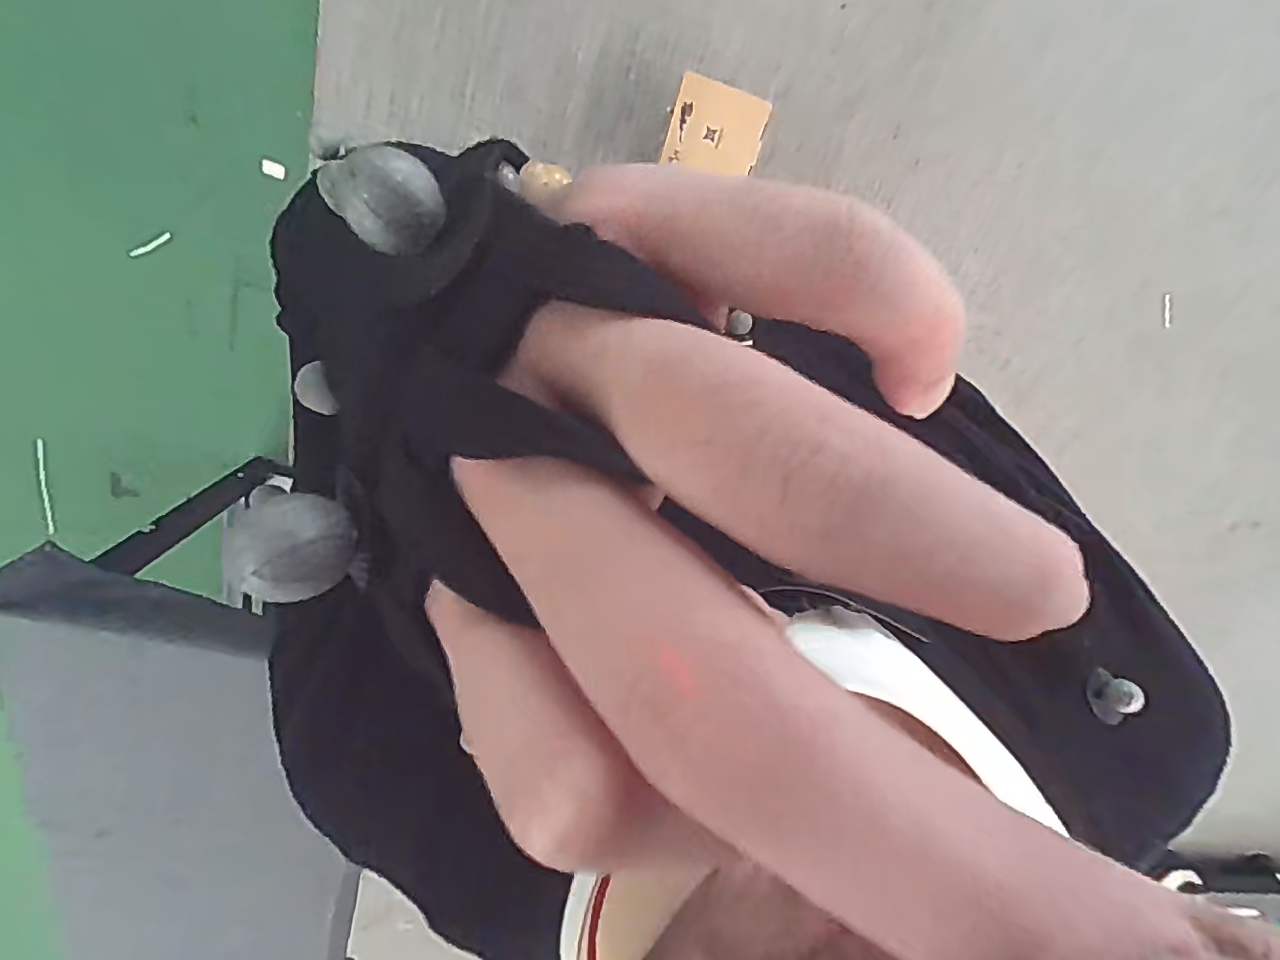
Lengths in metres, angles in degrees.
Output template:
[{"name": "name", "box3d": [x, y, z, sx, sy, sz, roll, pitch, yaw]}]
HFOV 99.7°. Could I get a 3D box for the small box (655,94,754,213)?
[{"name": "small box", "box3d": [0.135, -0.731, 1.232, 0.168, 0.176, 0.179, 18, 112, -8]}]
